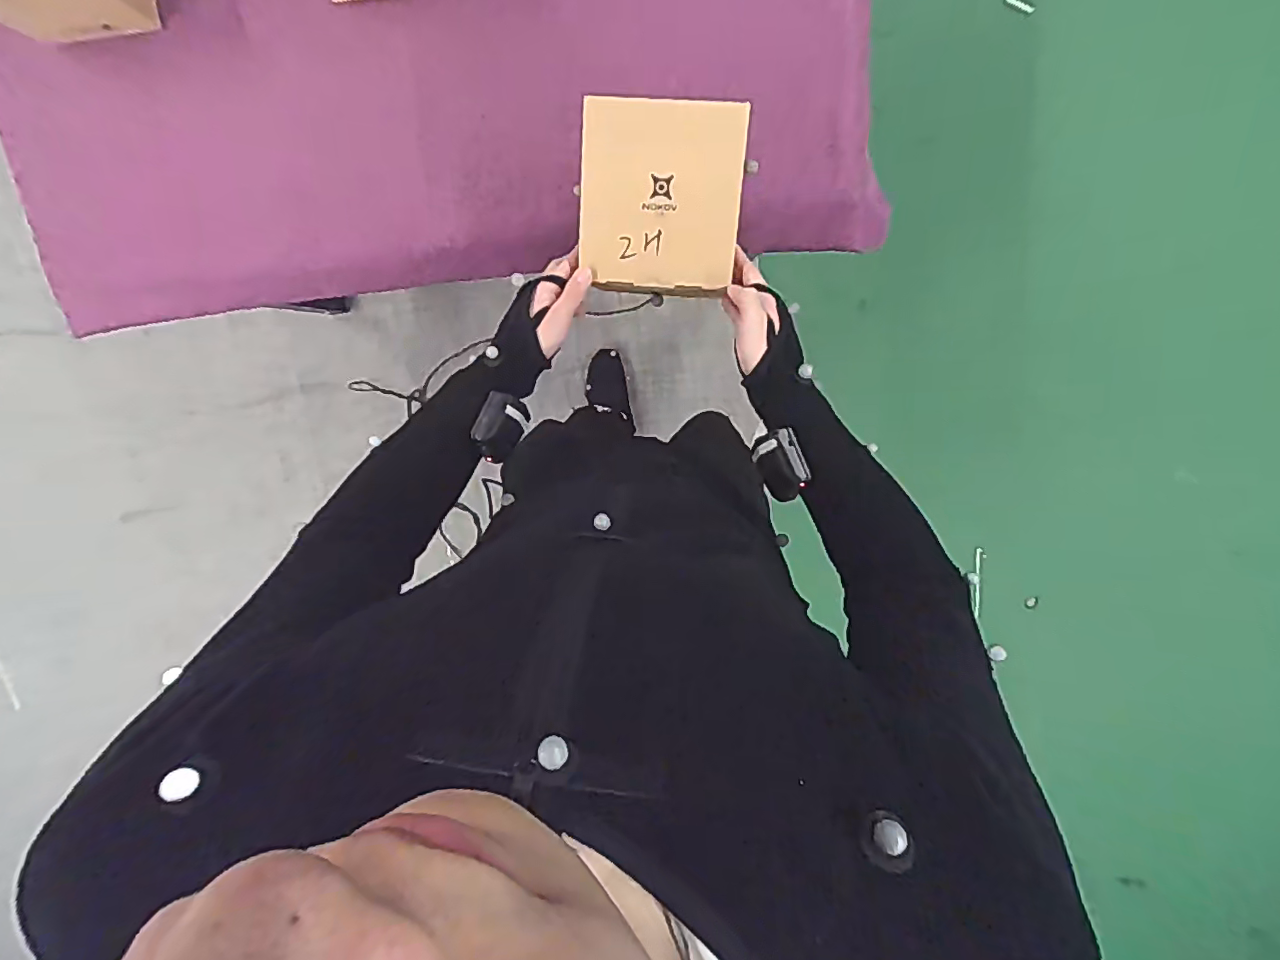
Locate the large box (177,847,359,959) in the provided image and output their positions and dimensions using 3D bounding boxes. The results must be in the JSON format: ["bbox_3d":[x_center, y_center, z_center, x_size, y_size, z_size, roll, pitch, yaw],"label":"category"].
[{"bbox_3d":[-1.239,1.518,1.813,0.408,0.320,0.320,17,103,-6],"label":"large box"}]

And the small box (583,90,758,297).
[{"bbox_3d":[0.032,-0.313,0.625,0.168,0.176,0.179,5,107,3],"label":"small box"}]
